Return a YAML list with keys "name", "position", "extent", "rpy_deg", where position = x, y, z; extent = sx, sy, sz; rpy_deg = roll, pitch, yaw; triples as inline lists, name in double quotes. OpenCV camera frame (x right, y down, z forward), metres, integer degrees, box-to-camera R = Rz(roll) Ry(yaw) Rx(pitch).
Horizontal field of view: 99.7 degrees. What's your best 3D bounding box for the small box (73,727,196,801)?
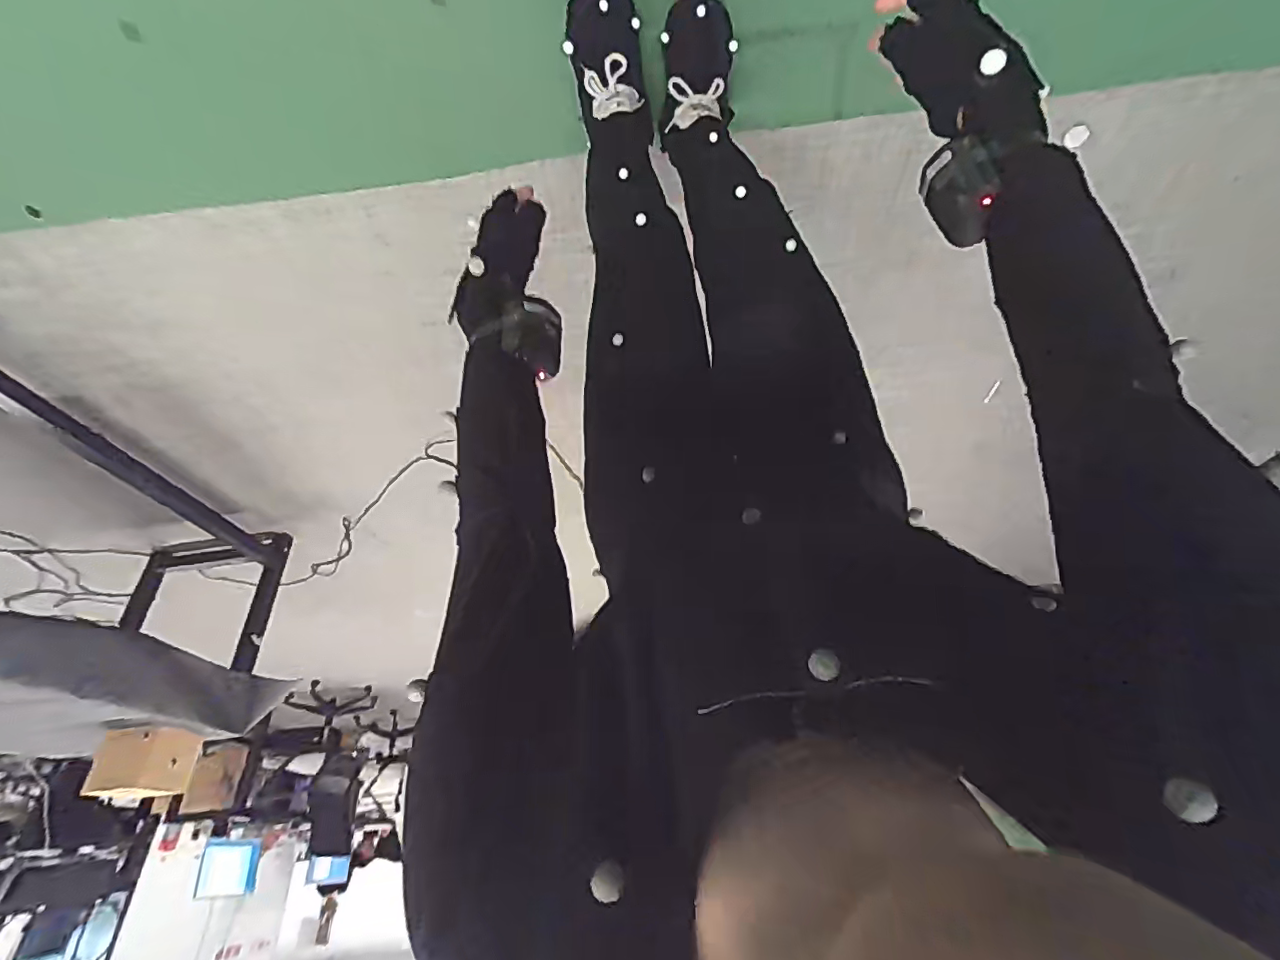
- name: "small box"
  position: [-1.473, 0.833, 1.590]
  extent: [0.168, 0.176, 0.179]
  rpy_deg: [-7, 146, 3]
